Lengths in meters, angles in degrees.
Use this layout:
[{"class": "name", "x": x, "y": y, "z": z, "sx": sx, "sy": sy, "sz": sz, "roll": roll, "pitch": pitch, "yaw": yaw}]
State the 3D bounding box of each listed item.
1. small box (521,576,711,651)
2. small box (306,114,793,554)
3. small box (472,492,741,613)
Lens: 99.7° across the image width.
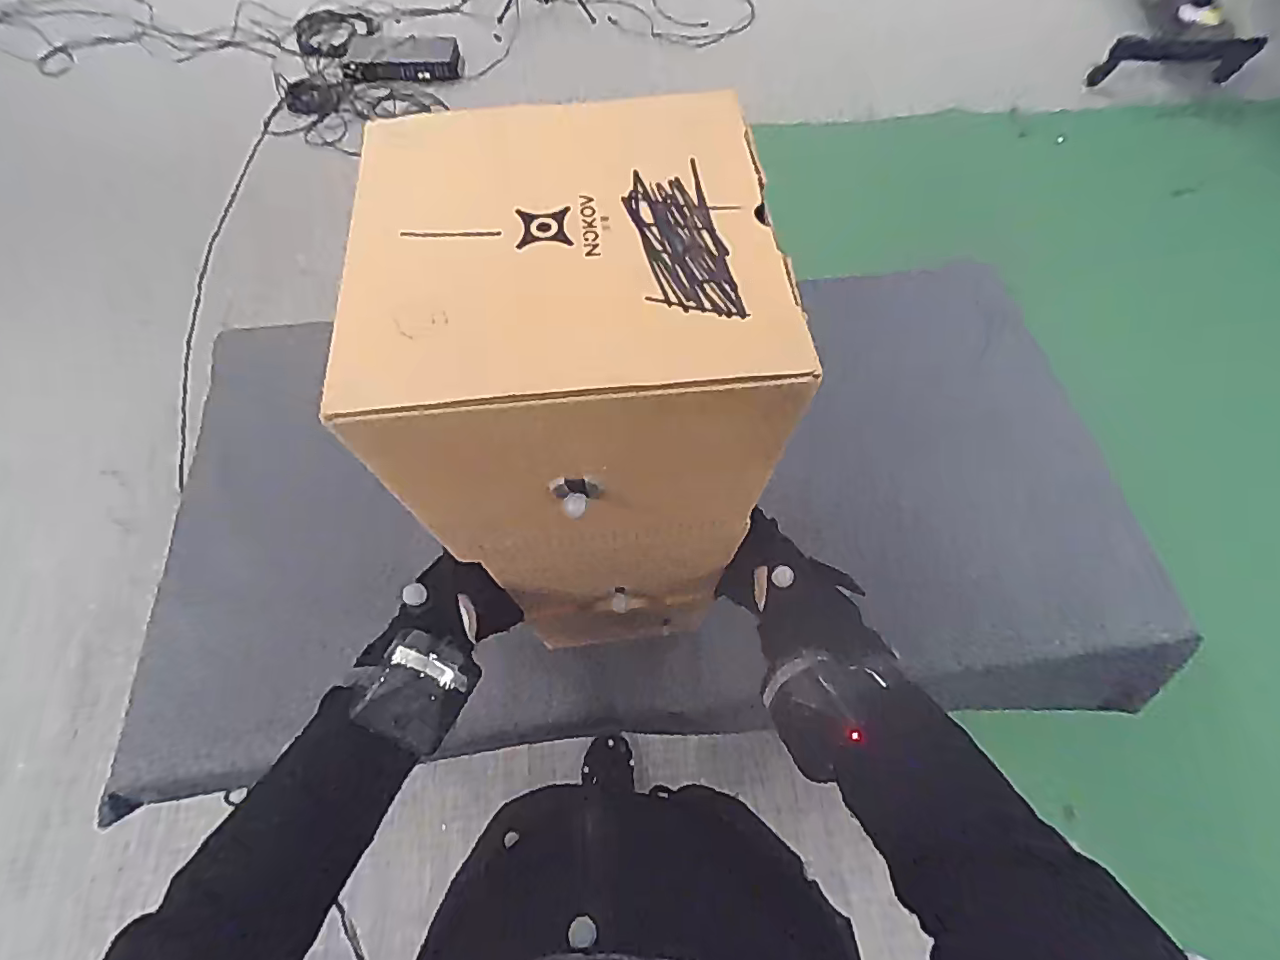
[{"class": "small box", "x": -0.030, "y": 0.083, "z": 0.593, "sx": 0.179, "sy": 0.176, "sz": 0.168, "roll": -7, "pitch": 64, "yaw": -3}, {"class": "small box", "x": -0.036, "y": -0.065, "z": 0.298, "sx": 0.179, "sy": 0.176, "sz": 0.168, "roll": -3, "pitch": 62, "yaw": -2}, {"class": "small box", "x": -0.031, "y": 0.004, "z": 0.448, "sx": 0.179, "sy": 0.176, "sz": 0.168, "roll": -5, "pitch": 63, "yaw": -4}]
